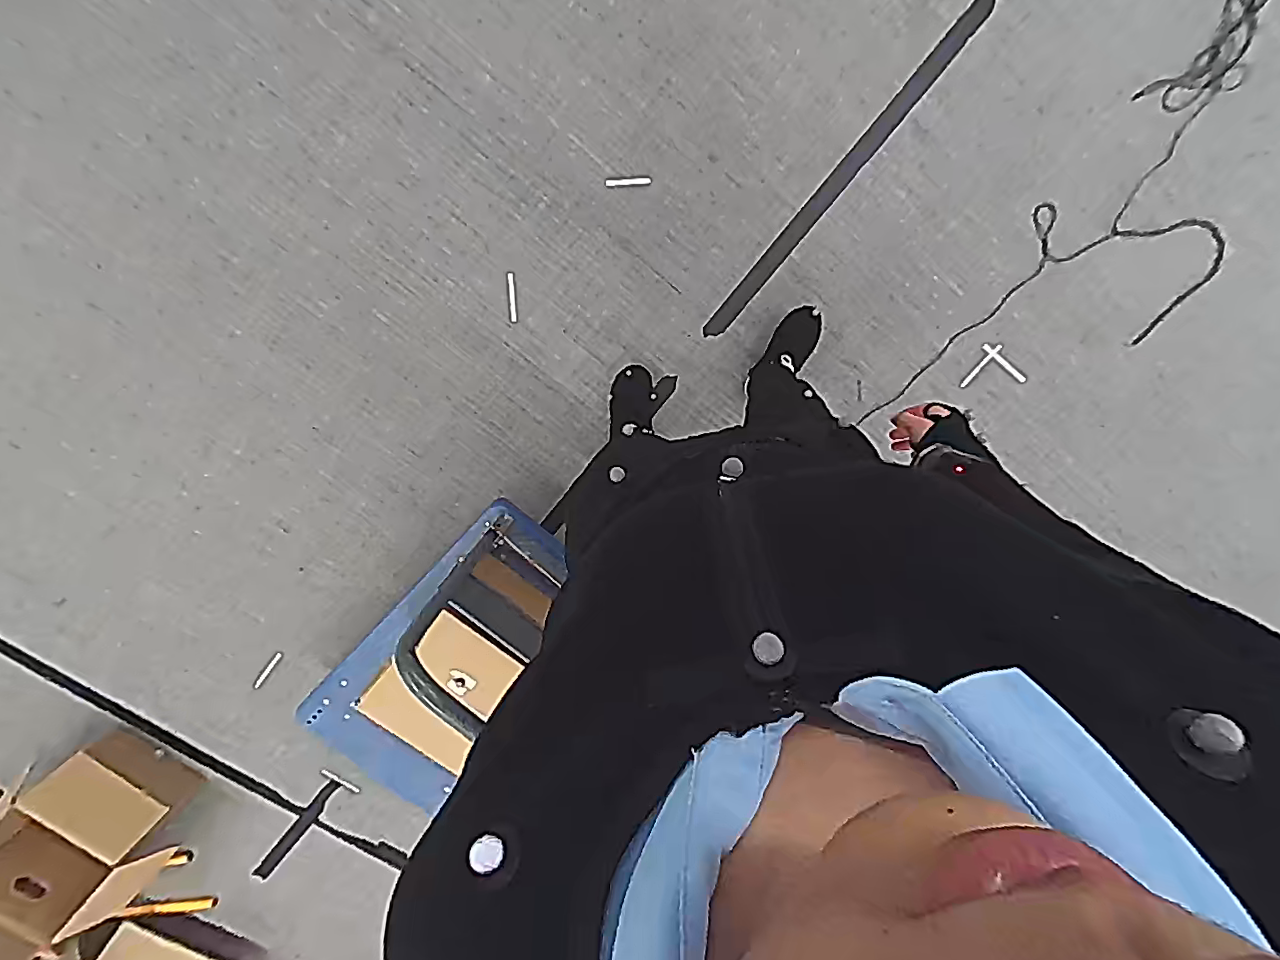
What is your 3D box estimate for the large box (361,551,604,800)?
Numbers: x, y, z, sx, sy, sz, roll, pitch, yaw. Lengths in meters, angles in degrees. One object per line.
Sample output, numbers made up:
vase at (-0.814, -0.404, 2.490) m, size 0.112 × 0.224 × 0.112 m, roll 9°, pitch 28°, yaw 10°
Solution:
large box at (-0.341, 0.443, 1.283) m, size 0.408 × 0.320 × 0.320 m, roll 39°, pitch 100°, yaw -9°
